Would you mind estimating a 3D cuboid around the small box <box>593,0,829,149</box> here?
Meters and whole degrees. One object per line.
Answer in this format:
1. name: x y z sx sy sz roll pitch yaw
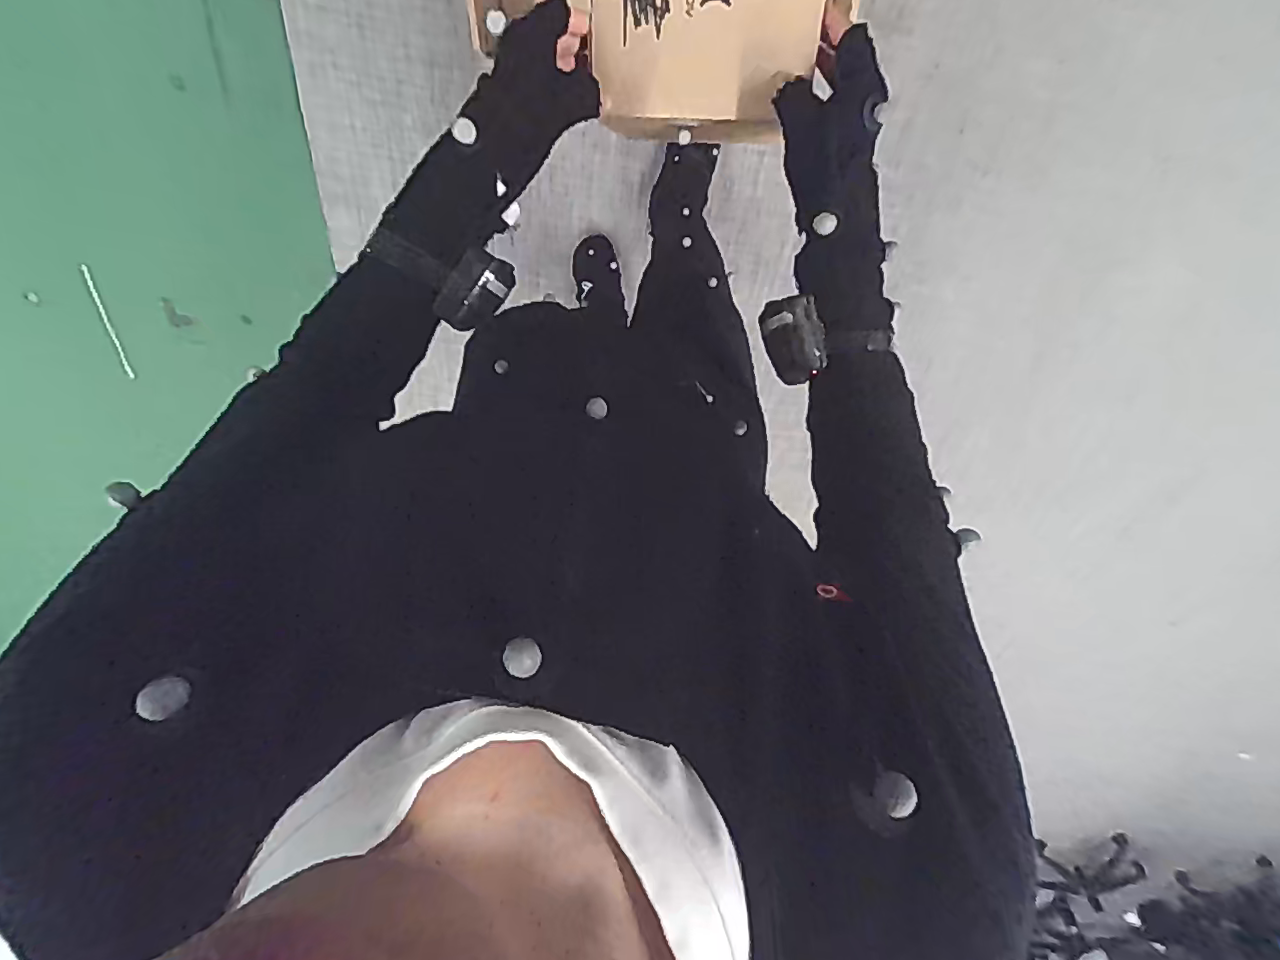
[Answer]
1. small box: 0.063 -0.391 0.469 0.179 0.176 0.168 6 117 7
